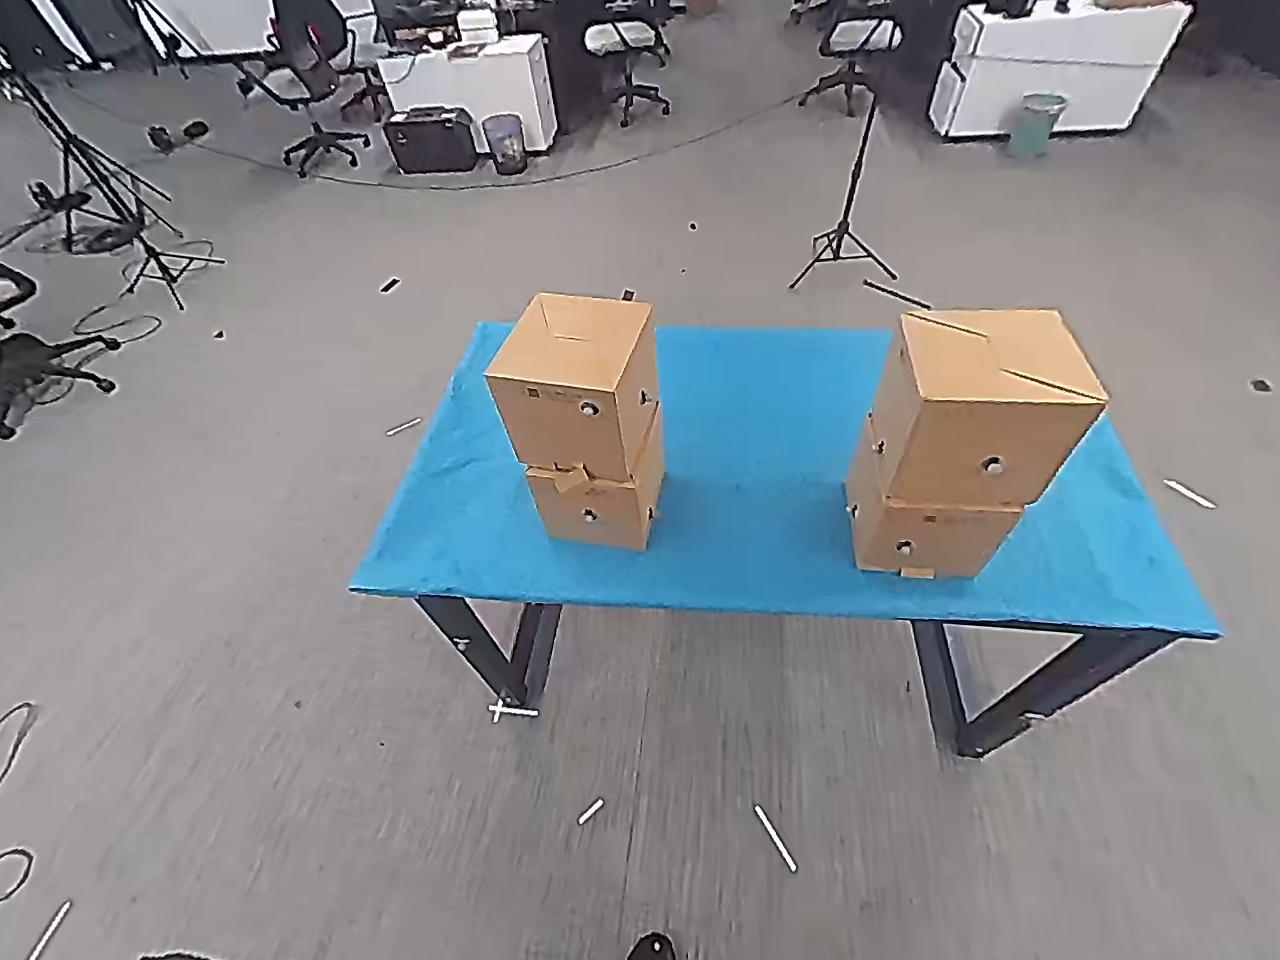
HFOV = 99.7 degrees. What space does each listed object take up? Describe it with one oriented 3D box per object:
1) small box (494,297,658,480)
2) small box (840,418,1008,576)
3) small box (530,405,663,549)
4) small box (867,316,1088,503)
[{"bbox_3d":[-0.078,-0.127,0.744,0.168,0.176,0.179,10,54,13],"label":"small box"},{"bbox_3d":[0.403,0.021,0.792,0.168,0.176,0.179,2,50,7],"label":"small box"},{"bbox_3d":[-0.060,-0.014,0.863,0.168,0.176,0.179,7,52,10],"label":"small box"},{"bbox_3d":[0.398,-0.088,0.669,0.179,0.176,0.168,2,49,11],"label":"small box"}]
